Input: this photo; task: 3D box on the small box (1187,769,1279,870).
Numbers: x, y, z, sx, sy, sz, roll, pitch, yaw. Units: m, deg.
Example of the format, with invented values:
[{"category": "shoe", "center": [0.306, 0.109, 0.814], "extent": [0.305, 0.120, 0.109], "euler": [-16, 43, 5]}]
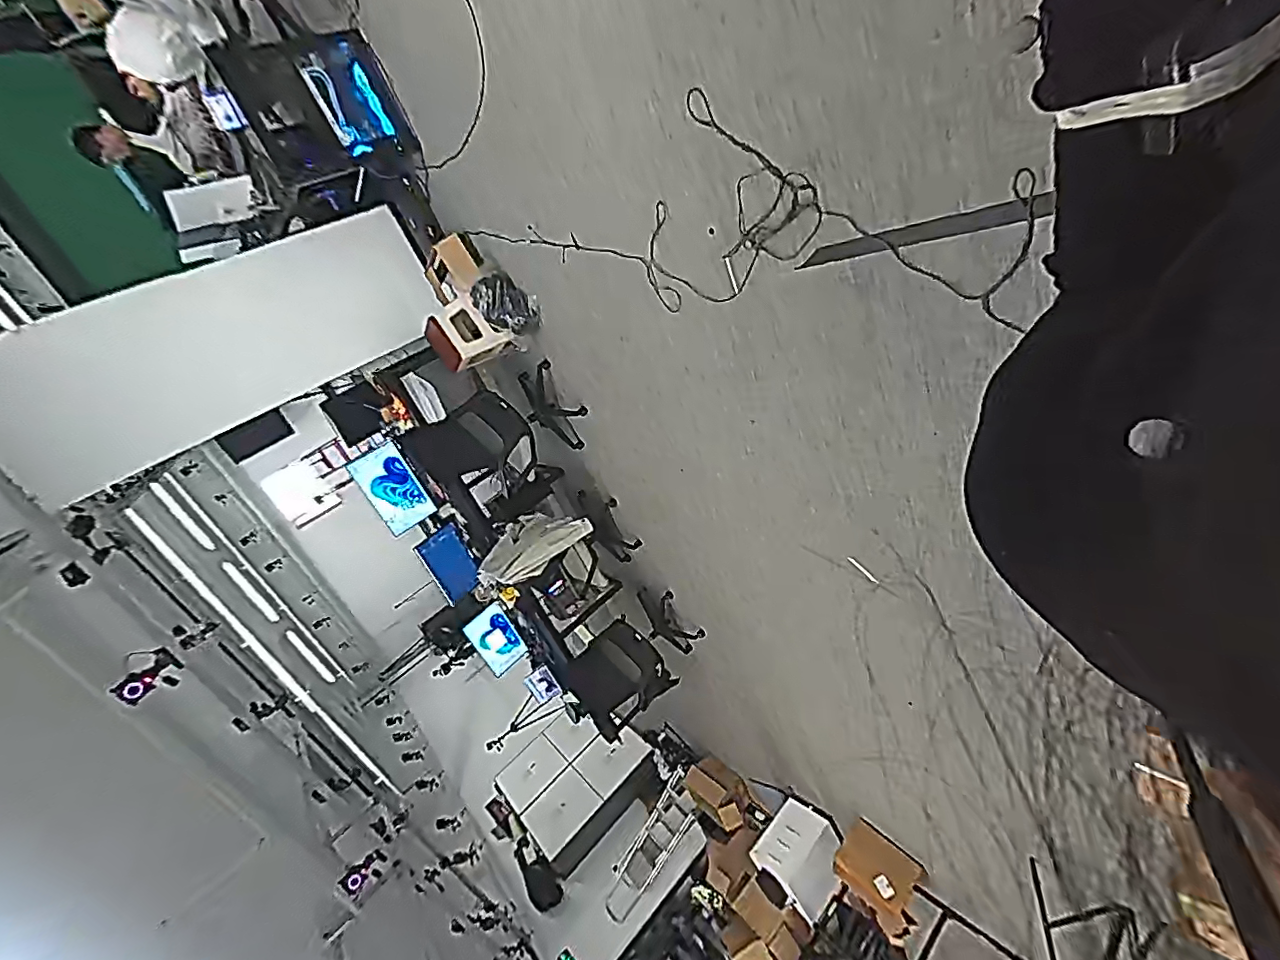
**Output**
[{"category": "small box", "center": [1.403, 0.820, 1.255], "extent": [0.168, 0.176, 0.179], "euler": [19, 139, 48]}]

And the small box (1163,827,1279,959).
[{"category": "small box", "center": [1.290, 0.918, 1.187], "extent": [0.168, 0.176, 0.179], "euler": [16, 135, 51]}]
